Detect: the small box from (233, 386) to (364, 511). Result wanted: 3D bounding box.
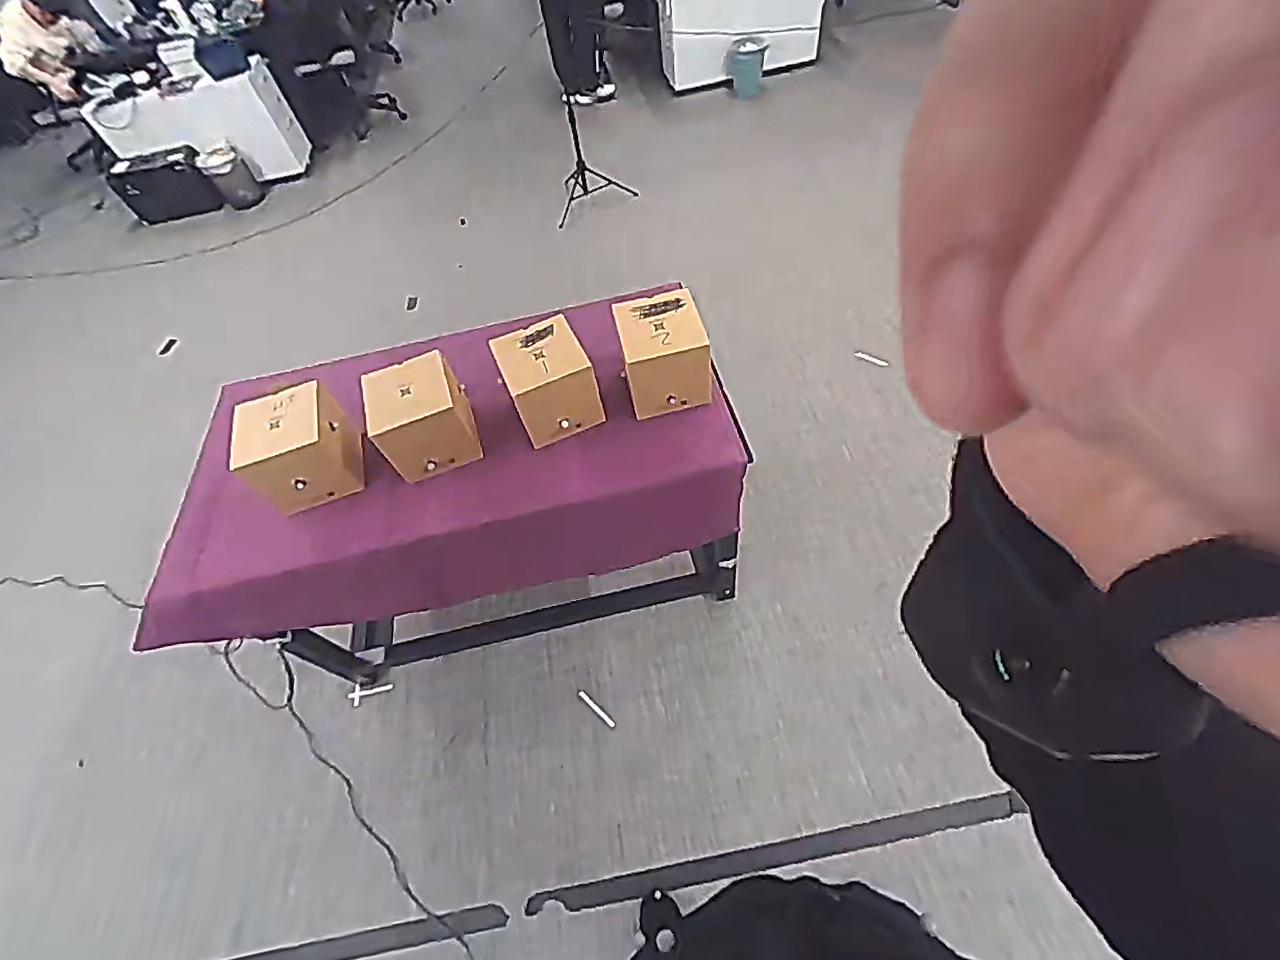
[{"bbox_3d":[-0.689,-0.056,1.110,0.168,0.176,0.179,-20,55,-6],"label":"small box"}]

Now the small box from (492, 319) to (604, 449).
[{"bbox_3d":[-0.190,-0.198,1.136,0.168,0.176,0.179,-24,56,-8],"label":"small box"}]

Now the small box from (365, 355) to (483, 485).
[{"bbox_3d":[-0.445,-0.121,1.121,0.168,0.176,0.179,-21,55,-6],"label":"small box"}]
